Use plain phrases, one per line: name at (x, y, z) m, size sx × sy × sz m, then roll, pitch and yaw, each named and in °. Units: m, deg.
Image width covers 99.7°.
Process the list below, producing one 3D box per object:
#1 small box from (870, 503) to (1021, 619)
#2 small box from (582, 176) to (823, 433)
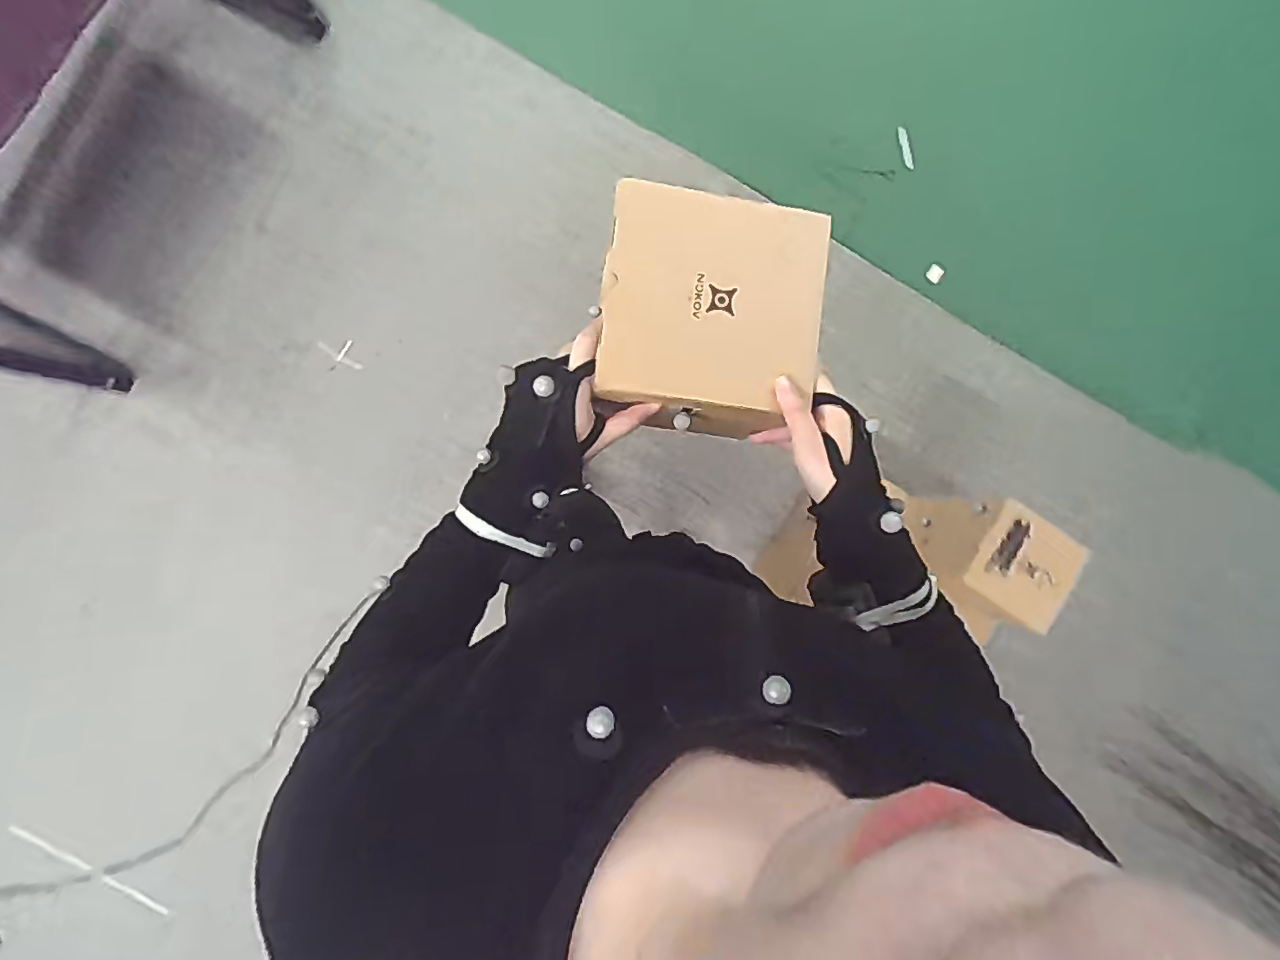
small box at (0.629, 0.157, 1.133) m, size 0.179 × 0.176 × 0.168 m, roll 37°, pitch 87°, yaw -3°
small box at (0.043, -0.140, 0.497) m, size 0.179 × 0.176 × 0.168 m, roll 7°, pitch 87°, yaw -5°
